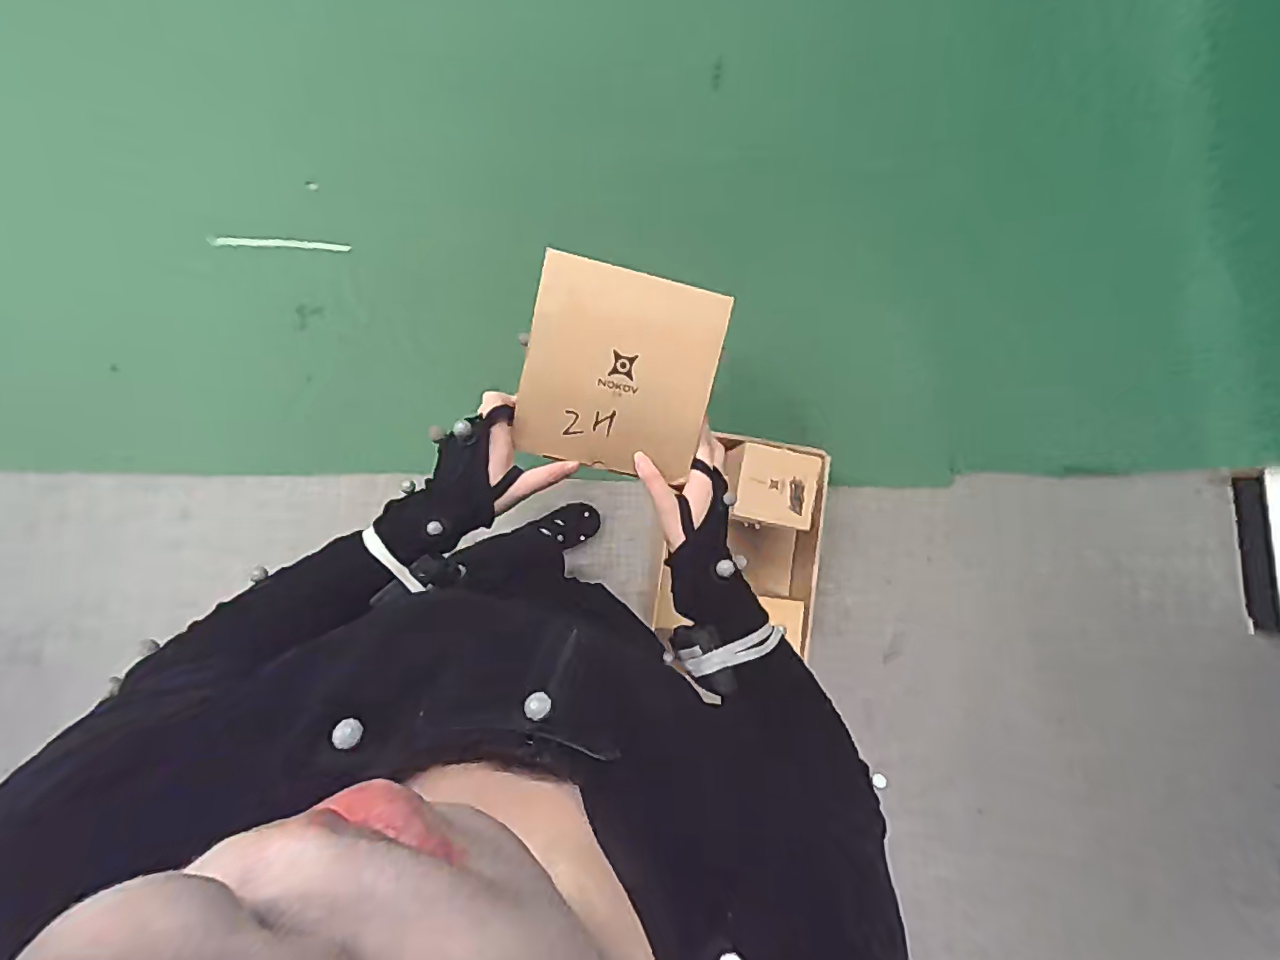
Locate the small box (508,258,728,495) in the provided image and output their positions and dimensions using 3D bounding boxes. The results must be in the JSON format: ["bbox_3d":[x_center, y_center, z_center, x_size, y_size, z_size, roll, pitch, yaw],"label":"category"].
[{"bbox_3d":[-0.027,-0.101,0.551,0.168,0.176,0.179,12,101,-7],"label":"small box"}]

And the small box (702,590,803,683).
[{"bbox_3d":[0.250,0.347,1.227,0.179,0.176,0.168,8,83,-2],"label":"small box"}]

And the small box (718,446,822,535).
[{"bbox_3d":[0.296,0.027,1.263,0.179,0.176,0.168,13,85,-2],"label":"small box"}]
